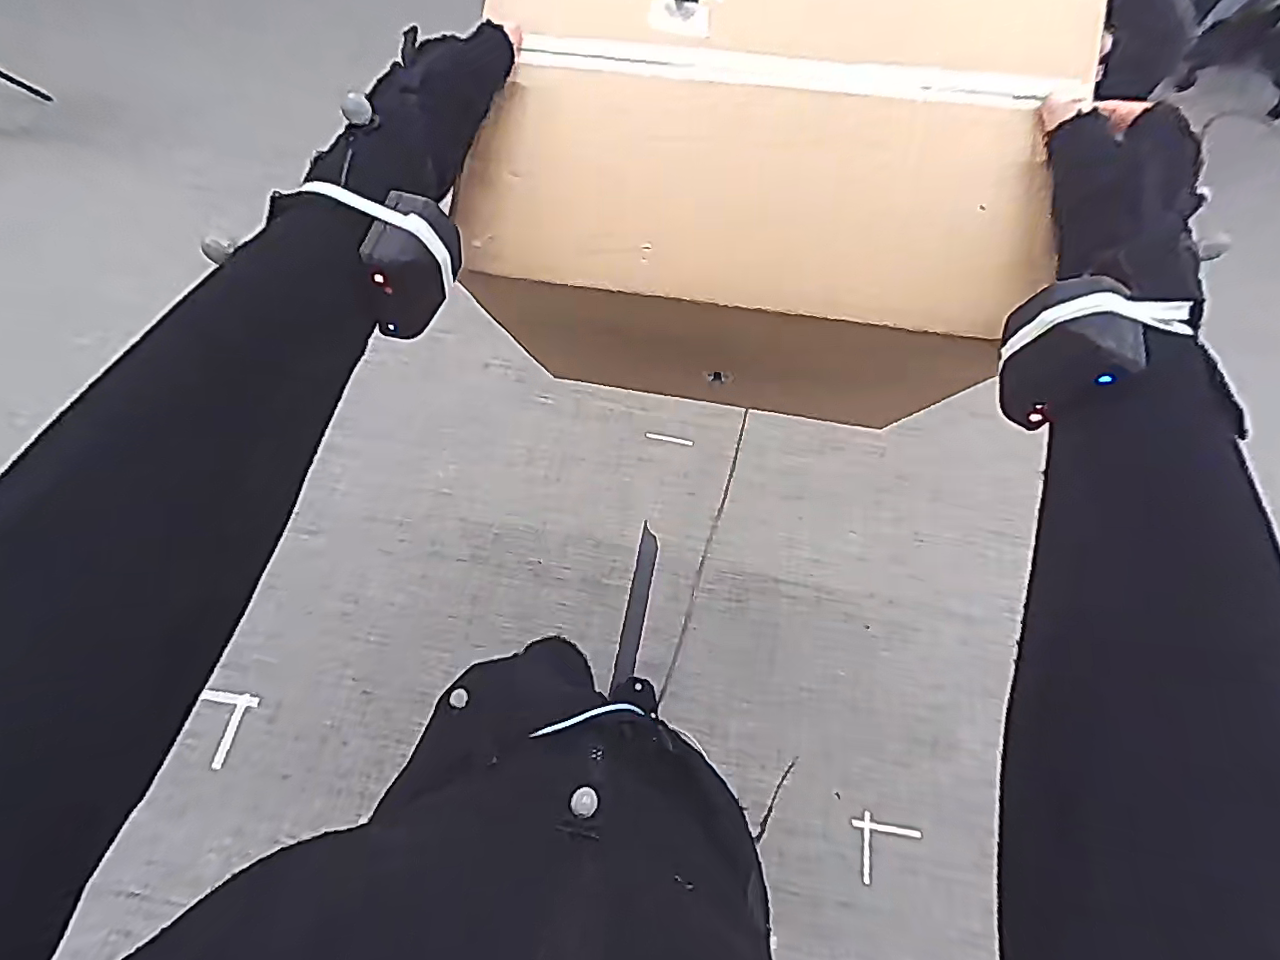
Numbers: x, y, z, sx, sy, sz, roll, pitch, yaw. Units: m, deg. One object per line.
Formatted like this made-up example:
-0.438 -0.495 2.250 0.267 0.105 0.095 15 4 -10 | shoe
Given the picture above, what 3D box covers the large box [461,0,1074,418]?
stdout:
0.102 -0.258 0.531 0.408 0.320 0.320 10 86 7 | large box
